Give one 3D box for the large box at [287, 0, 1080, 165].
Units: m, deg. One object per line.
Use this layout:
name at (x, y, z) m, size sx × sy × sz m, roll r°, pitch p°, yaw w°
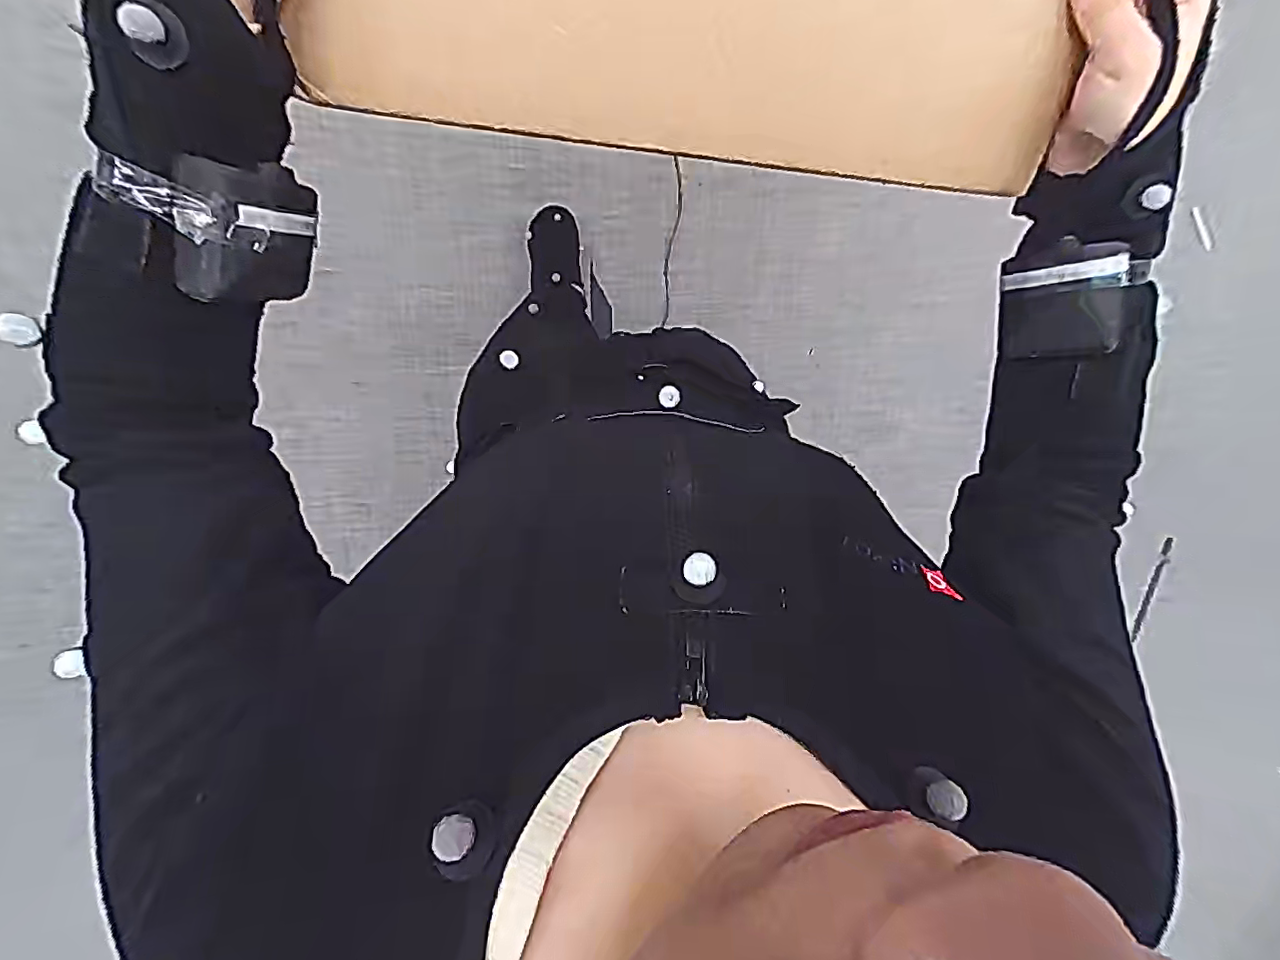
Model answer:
large box at (0.024, -0.401, 0.334) m, size 0.408 × 0.320 × 0.320 m, roll 1°, pitch 124°, yaw -11°
